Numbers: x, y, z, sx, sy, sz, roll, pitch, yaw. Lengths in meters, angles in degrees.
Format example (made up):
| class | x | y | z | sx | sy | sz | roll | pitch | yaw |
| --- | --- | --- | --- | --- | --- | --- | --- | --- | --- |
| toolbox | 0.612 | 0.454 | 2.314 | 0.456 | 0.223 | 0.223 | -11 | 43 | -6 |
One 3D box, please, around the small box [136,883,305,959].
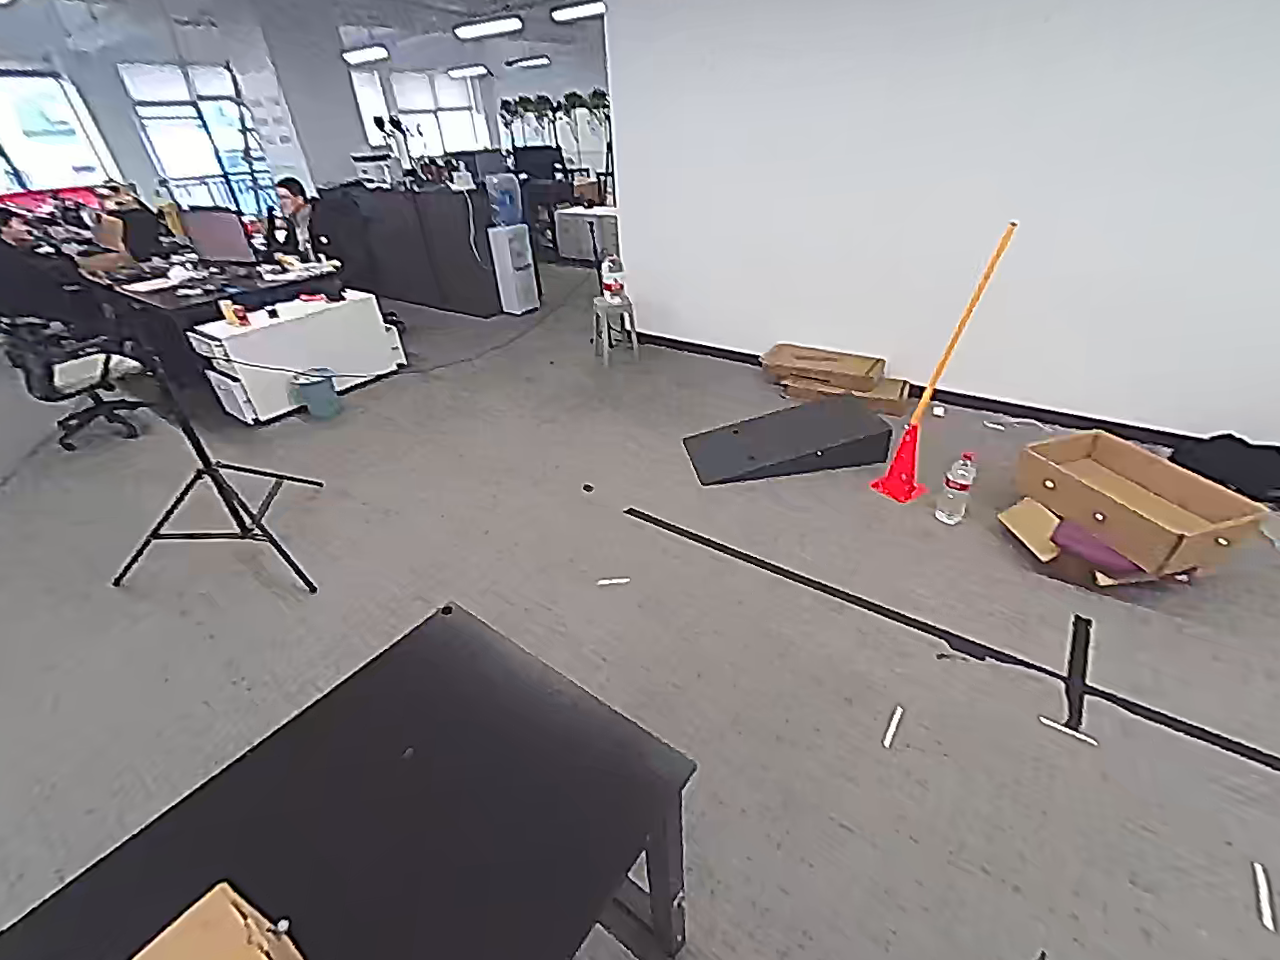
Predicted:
| class | x | y | z | sx | sy | sz | roll | pitch | yaw |
| --- | --- | --- | --- | --- | --- | --- | --- | --- | --- |
| small box | -0.422 | 0.560 | 0.526 | 0.168 | 0.176 | 0.179 | 19 | 40 | 32 |
